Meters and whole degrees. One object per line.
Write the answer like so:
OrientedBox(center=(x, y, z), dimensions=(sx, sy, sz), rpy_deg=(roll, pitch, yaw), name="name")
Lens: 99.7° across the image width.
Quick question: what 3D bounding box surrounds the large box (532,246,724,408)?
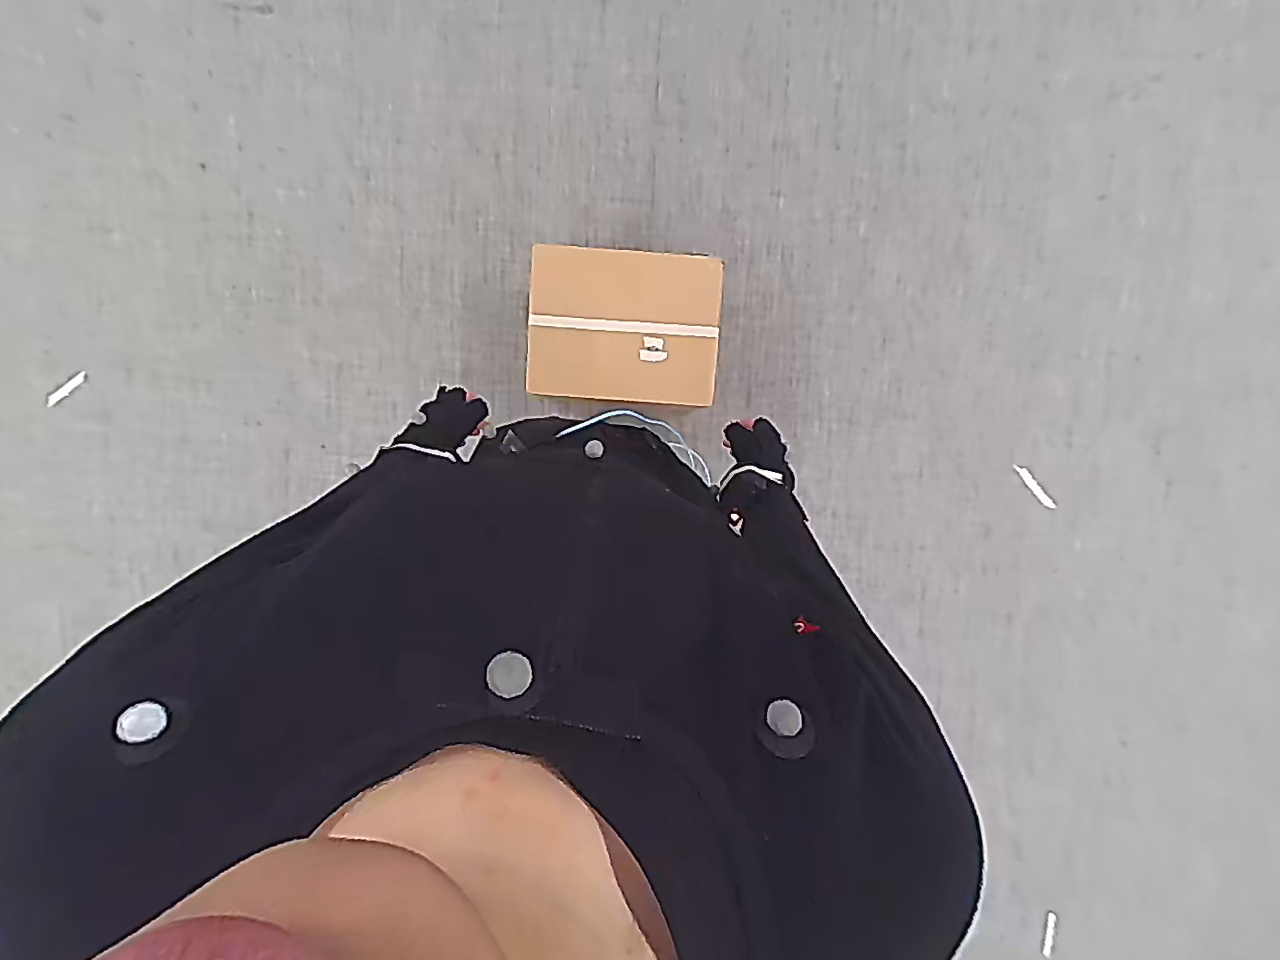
OrientedBox(center=(-0.031, -0.345, 1.305), dimensions=(0.408, 0.320, 0.320), rpy_deg=(4, 96, -1), name="large box")
